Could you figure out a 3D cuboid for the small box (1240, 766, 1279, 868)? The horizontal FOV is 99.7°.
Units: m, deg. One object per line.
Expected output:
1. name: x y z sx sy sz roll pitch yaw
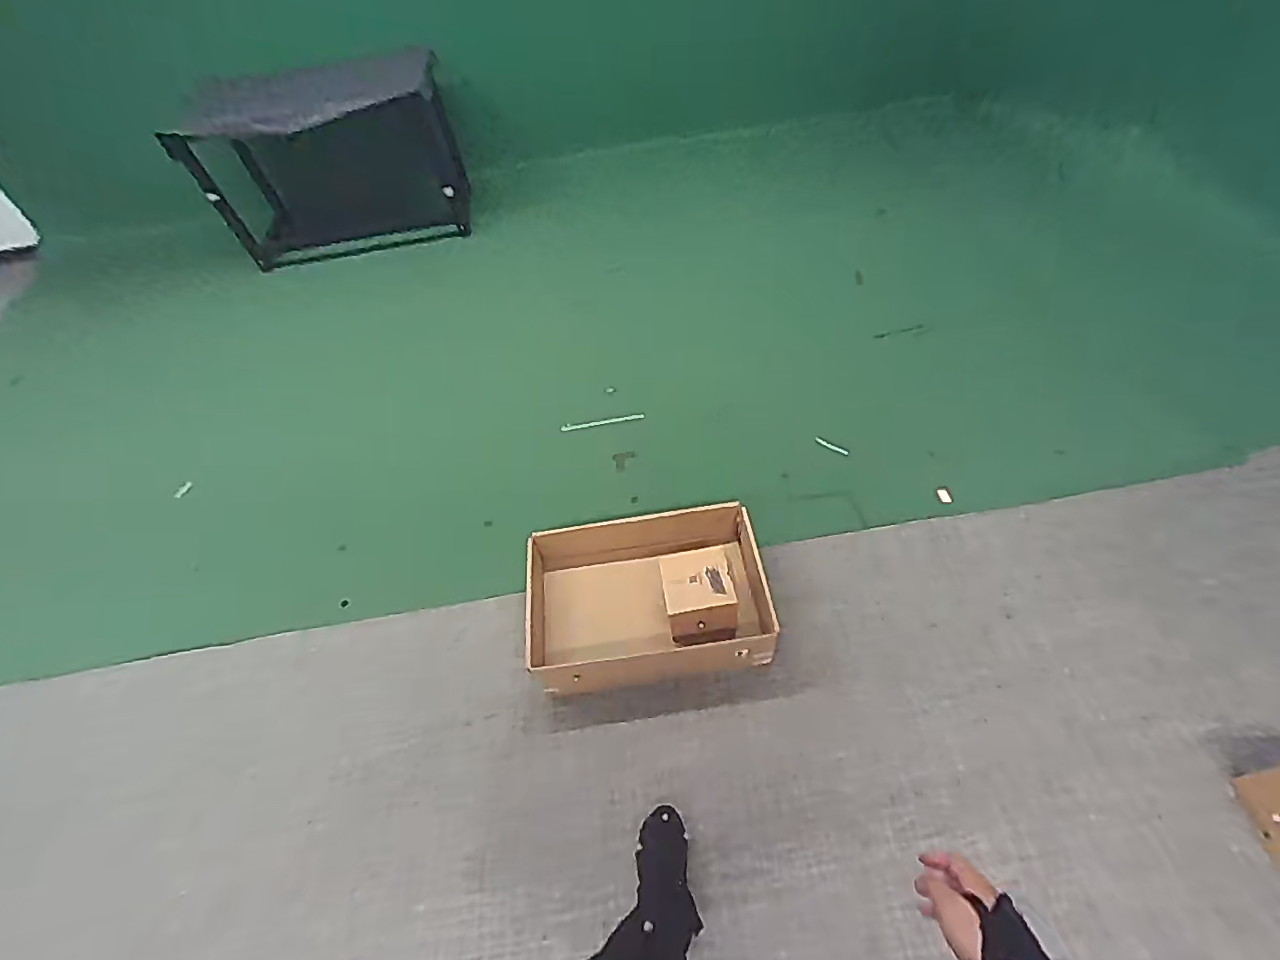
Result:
1. small box: 1.333 0.658 1.037 0.179 0.176 0.168 -1 52 8
